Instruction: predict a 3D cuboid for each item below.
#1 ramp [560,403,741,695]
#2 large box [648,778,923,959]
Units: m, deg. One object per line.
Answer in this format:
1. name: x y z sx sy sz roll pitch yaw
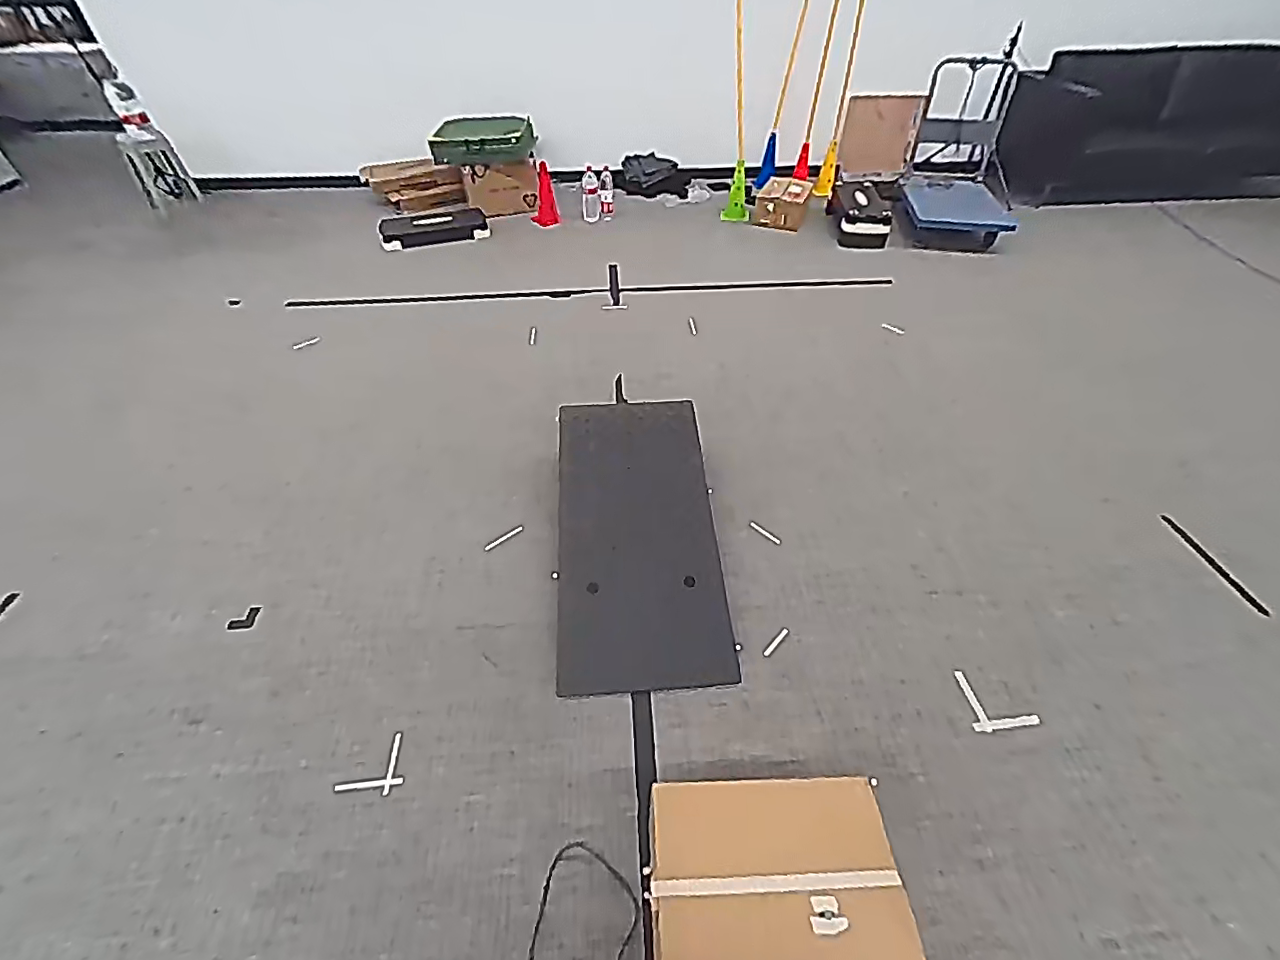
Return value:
1. ramp: -0.003 0.141 1.707 0.509 0.206 0.991 -3 46 -5
2. large box: 0.226 0.771 0.991 0.408 0.320 0.320 0 45 -2
